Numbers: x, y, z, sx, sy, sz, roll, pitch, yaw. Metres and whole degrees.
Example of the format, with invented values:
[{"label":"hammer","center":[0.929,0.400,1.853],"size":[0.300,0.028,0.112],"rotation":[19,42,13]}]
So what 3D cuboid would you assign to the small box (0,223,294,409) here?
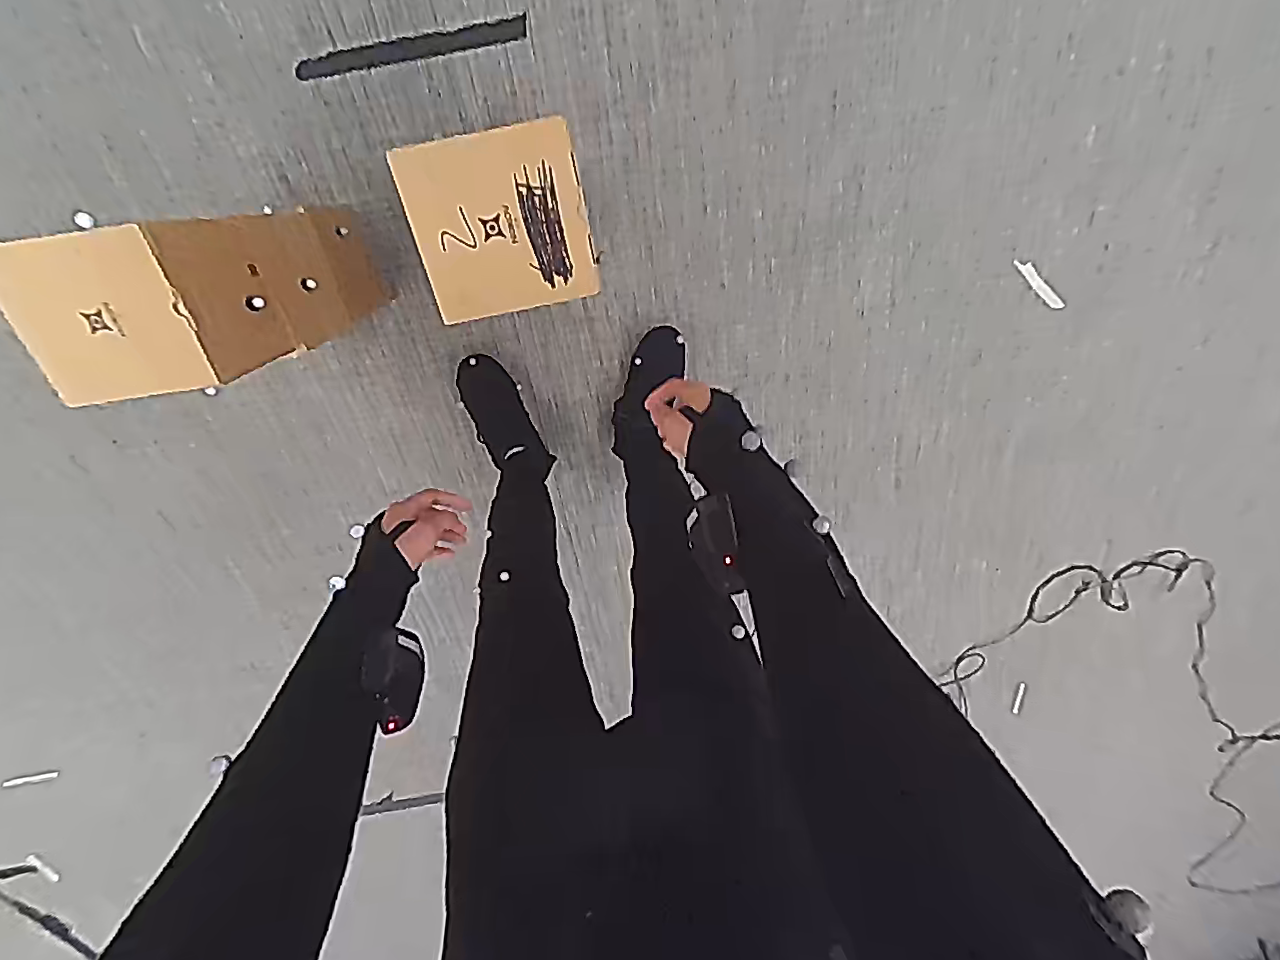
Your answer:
[{"label":"small box","center":[-0.554,-0.196,0.627],"size":[0.179,0.176,0.168],"rotation":[-9,118,0]}]

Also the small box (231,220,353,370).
[{"label":"small box","center":[-0.553,-0.263,0.776],"size":[0.168,0.176,0.179],"rotation":[-13,119,2]}]

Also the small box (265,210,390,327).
[{"label":"small box","center":[-0.560,-0.345,0.918],"size":[0.168,0.176,0.179],"rotation":[-15,118,3]}]

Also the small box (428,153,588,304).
[{"label":"small box","center":[-0.174,-0.356,0.763],"size":[0.179,0.176,0.168],"rotation":[-8,117,-2]}]
